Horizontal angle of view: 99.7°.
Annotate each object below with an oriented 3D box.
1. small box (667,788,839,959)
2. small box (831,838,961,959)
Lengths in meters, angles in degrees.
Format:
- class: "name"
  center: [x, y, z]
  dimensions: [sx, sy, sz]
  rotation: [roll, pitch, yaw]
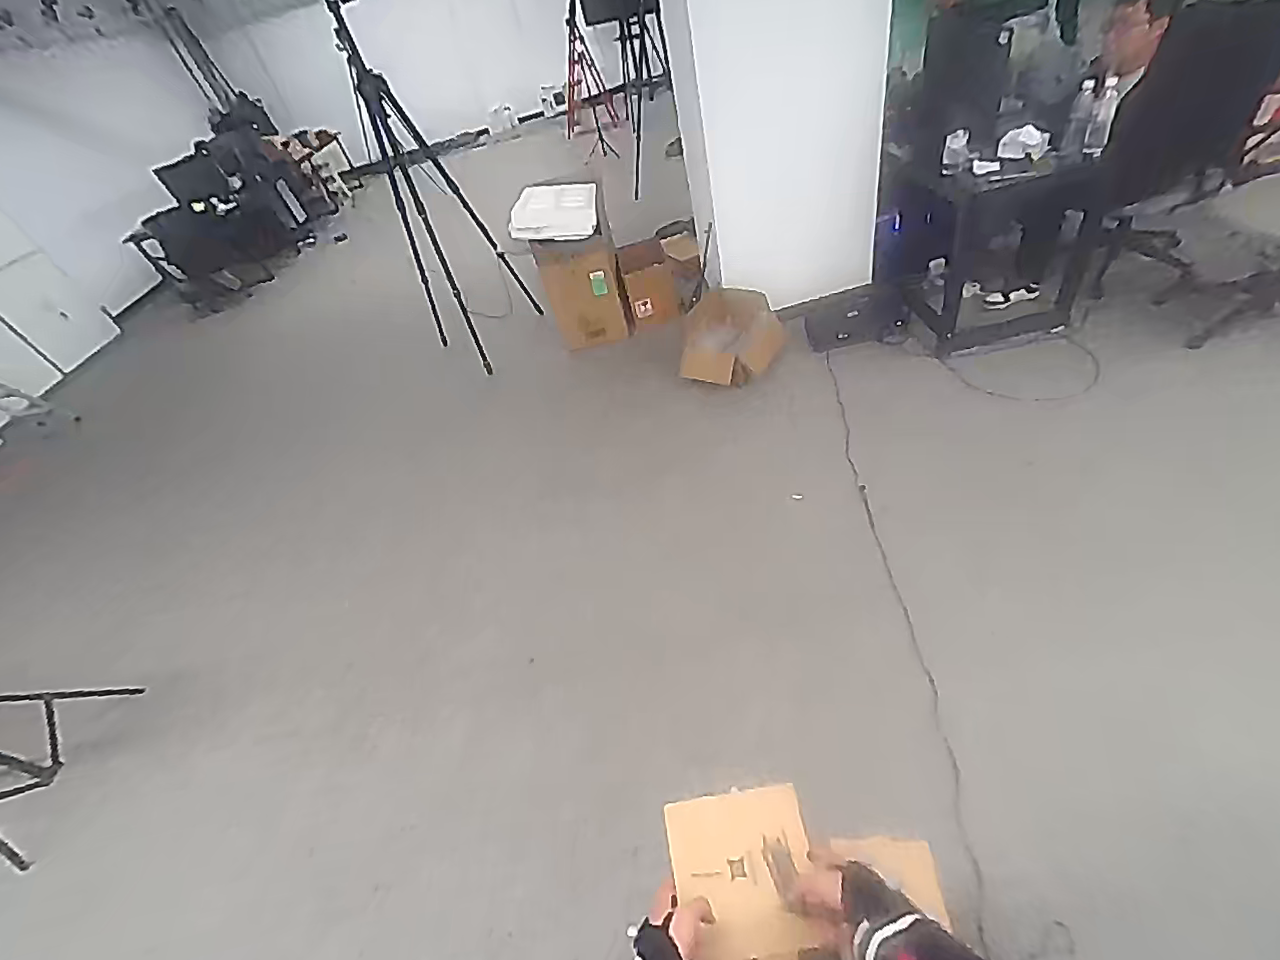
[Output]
- class: "small box"
  center: [0.137, 0.527, 0.714]
  dimensions: [0.179, 0.176, 0.168]
  rotation: [-10, 49, 0]
- class: "small box"
  center: [0.425, 0.740, 0.925]
  dimensions: [0.168, 0.176, 0.179]
  rotation: [-7, 43, 13]
